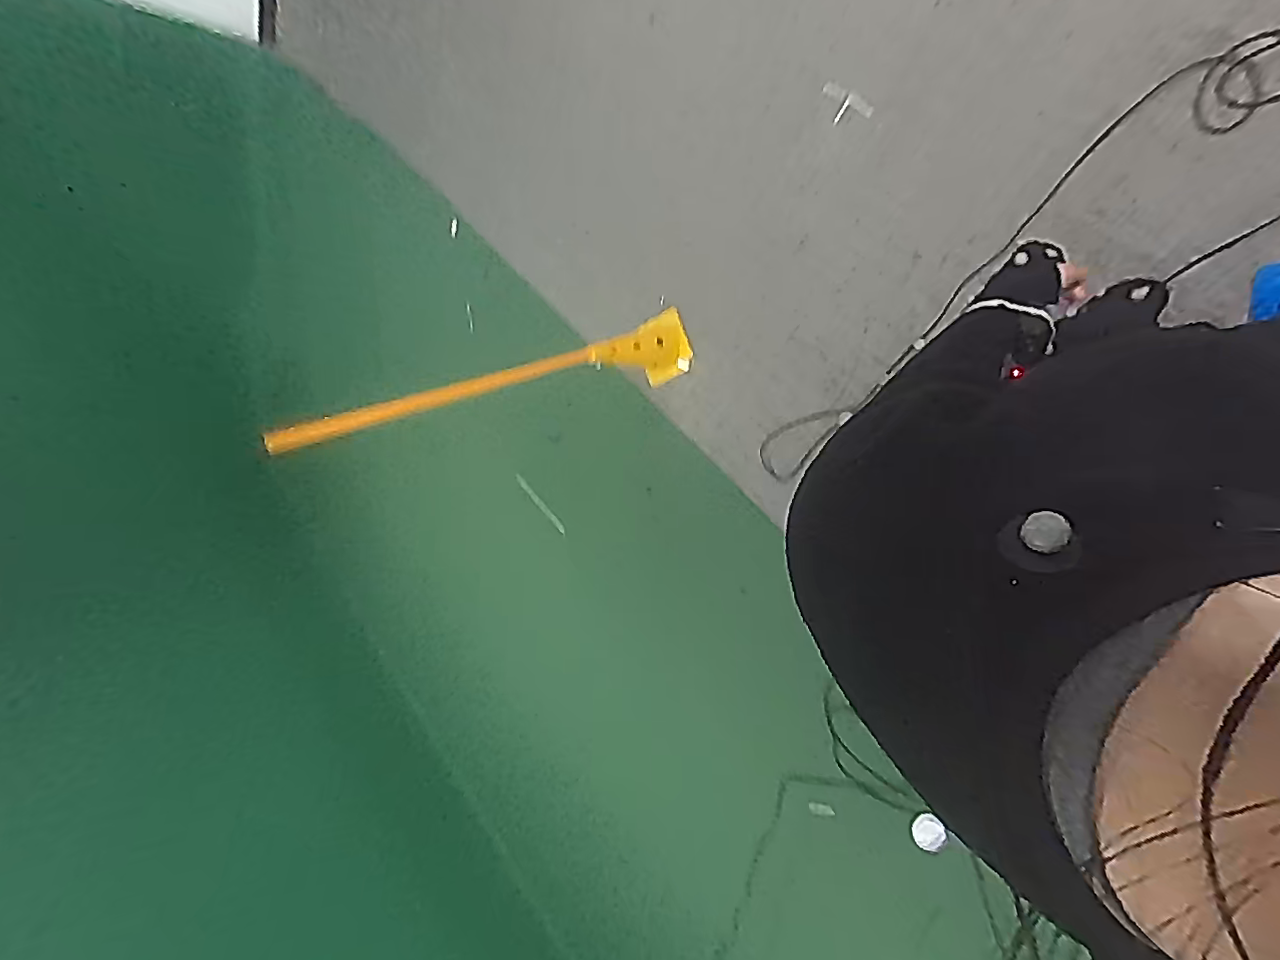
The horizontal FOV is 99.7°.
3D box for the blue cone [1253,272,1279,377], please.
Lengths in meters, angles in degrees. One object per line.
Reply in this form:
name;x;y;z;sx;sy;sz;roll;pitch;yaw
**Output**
blue cone;1.091;-0.246;0.793;0.193;0.380;0.192;-1;102;37
